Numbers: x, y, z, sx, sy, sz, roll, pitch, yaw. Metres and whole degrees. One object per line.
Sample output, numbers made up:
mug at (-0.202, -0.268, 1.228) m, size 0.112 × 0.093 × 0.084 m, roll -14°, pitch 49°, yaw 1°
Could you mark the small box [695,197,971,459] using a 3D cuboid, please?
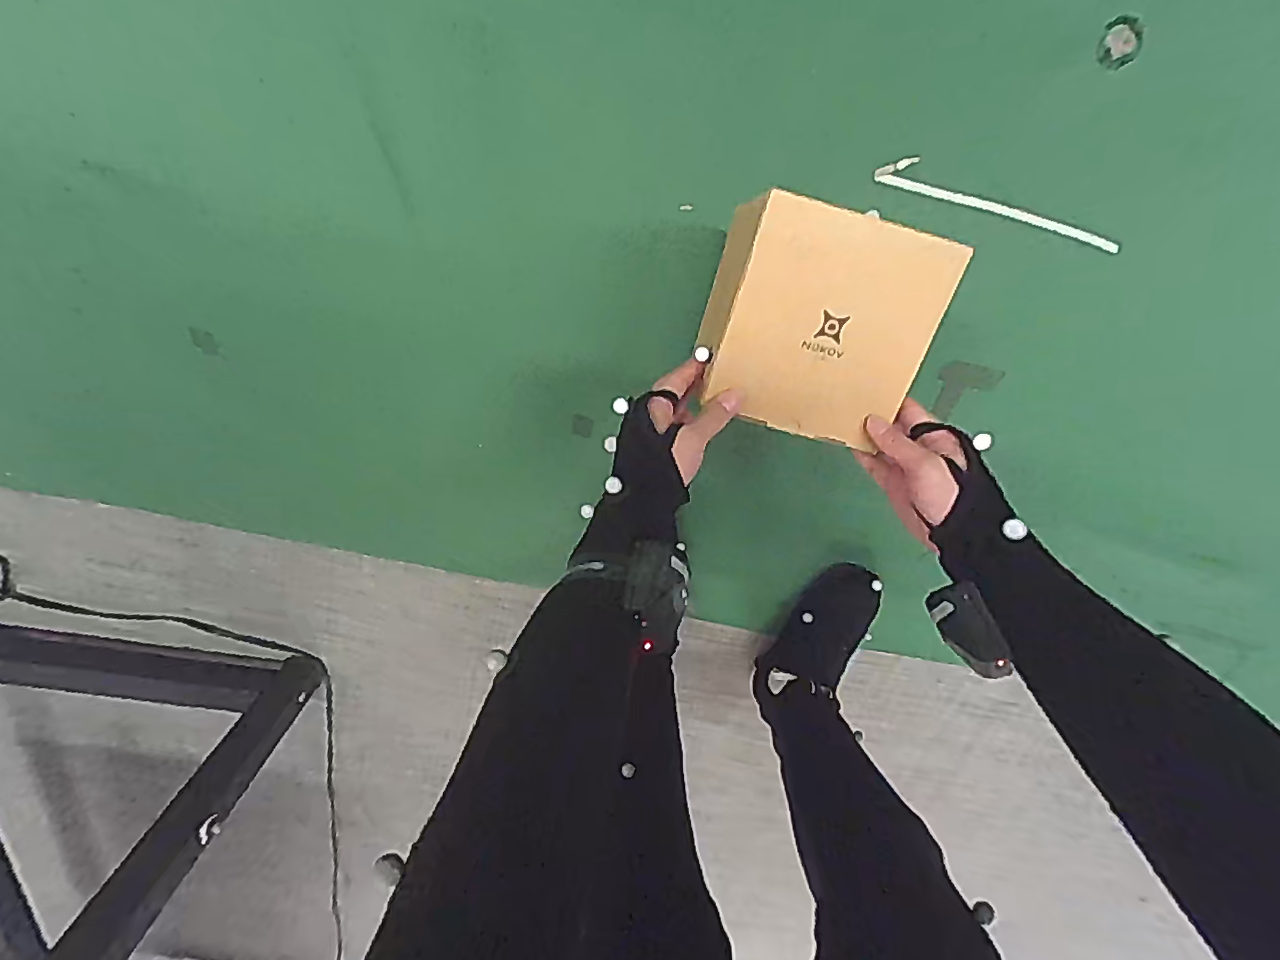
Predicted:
small box at (0.156, -0.145, 0.511) m, size 0.168 × 0.176 × 0.179 m, roll 14°, pitch 113°, yaw -6°
